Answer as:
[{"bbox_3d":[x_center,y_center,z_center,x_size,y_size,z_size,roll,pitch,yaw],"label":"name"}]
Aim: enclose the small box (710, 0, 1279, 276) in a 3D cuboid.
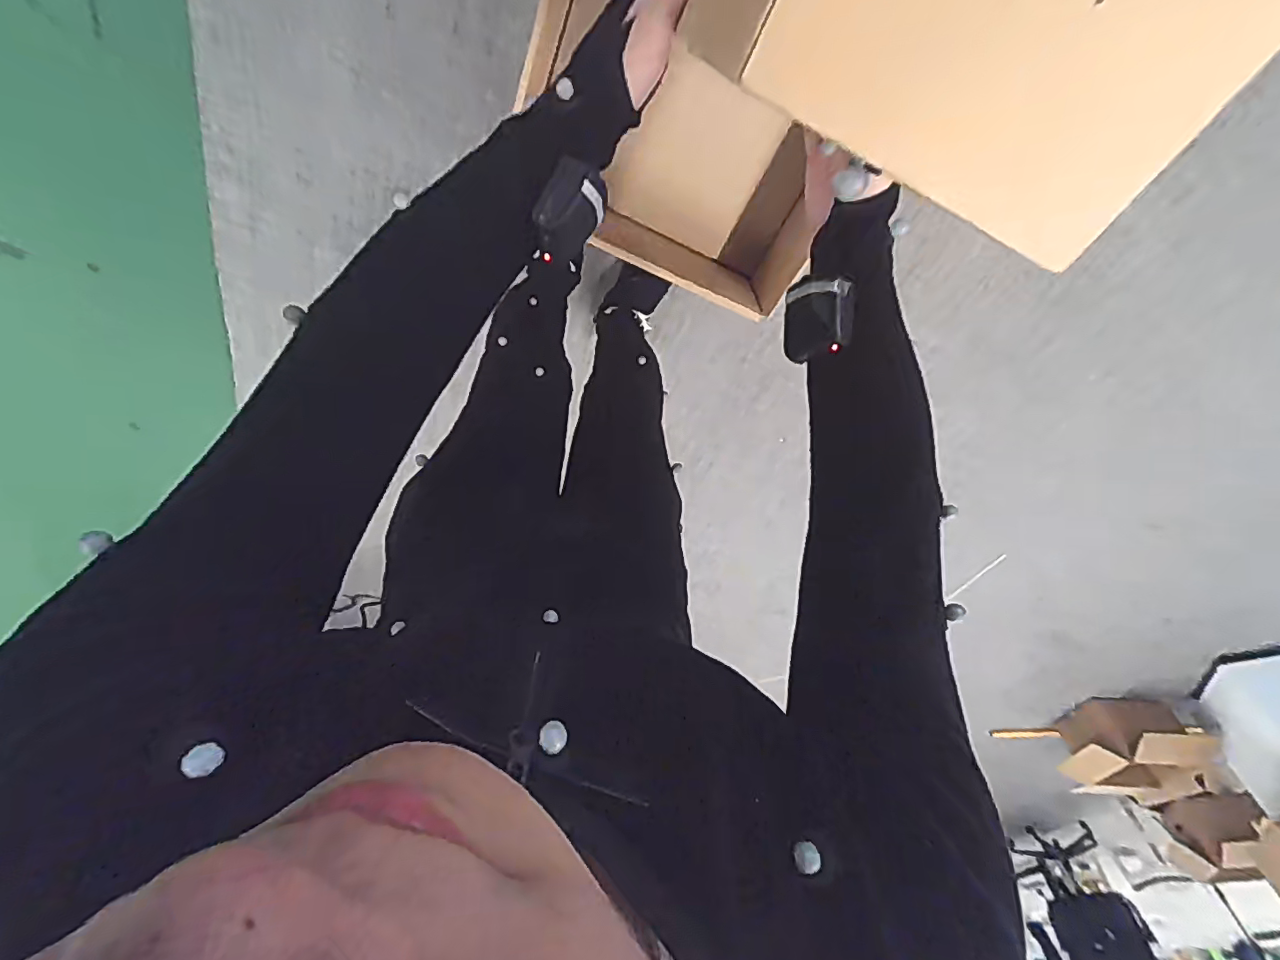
[{"bbox_3d":[0.149,-0.227,0.233,0.179,0.176,0.168,18,130,-18],"label":"small box"}]
